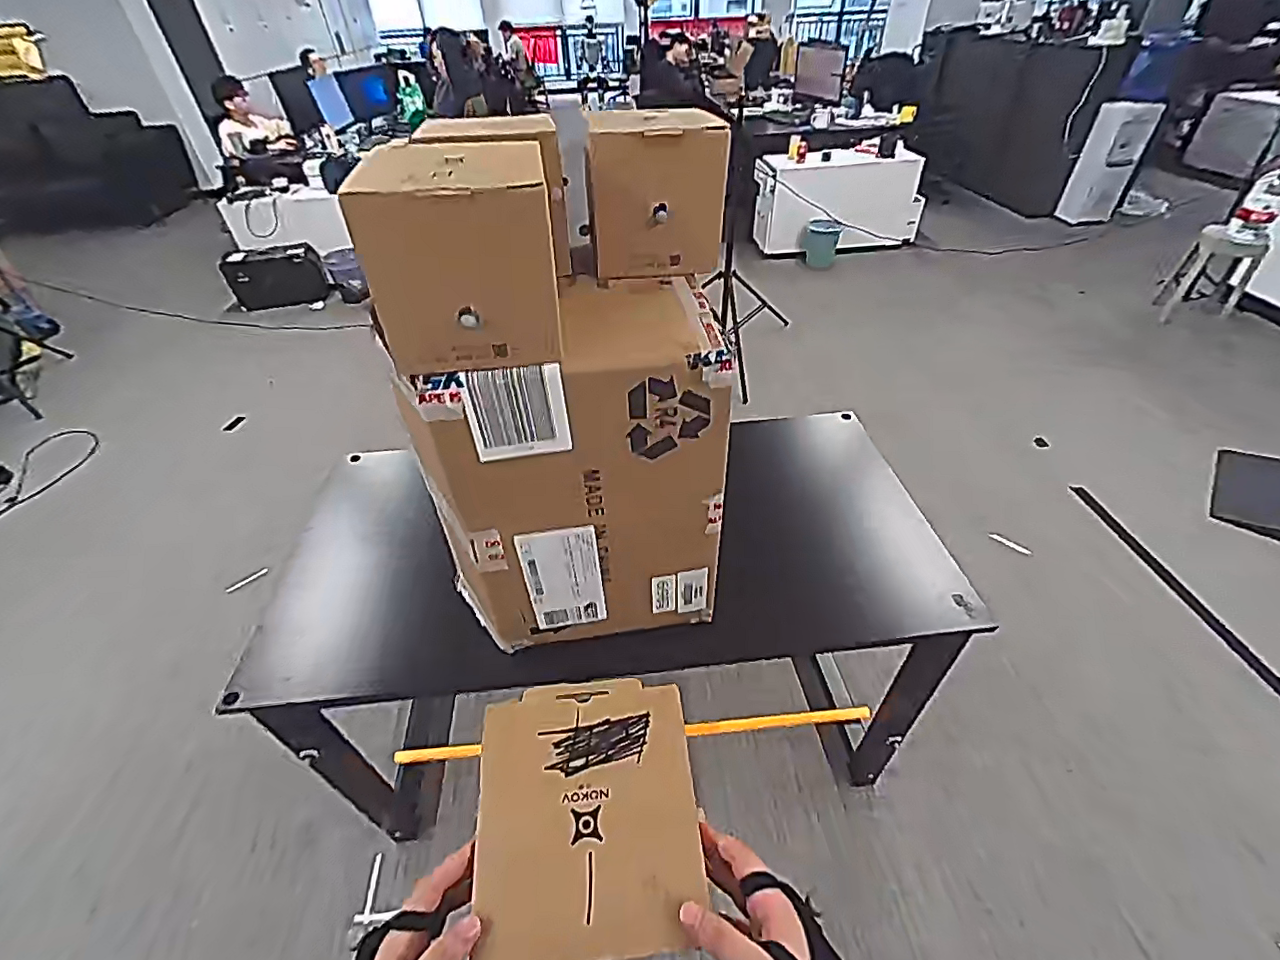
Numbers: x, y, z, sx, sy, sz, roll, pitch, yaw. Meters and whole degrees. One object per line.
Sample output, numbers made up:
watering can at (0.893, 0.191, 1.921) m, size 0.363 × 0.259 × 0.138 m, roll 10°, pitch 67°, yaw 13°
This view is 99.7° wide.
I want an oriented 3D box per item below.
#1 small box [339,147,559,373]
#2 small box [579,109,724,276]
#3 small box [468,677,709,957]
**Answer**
small box at (-0.176, -0.228, 0.557) m, size 0.168 × 0.176 × 0.179 m, roll -7°, pitch 43°, yaw -7°
small box at (0.009, -0.387, 0.733) m, size 0.168 × 0.176 × 0.179 m, roll -5°, pitch 42°, yaw -6°
small box at (-0.042, 0.296, 0.477) m, size 0.168 × 0.176 × 0.179 m, roll -5°, pitch 51°, yaw -4°
